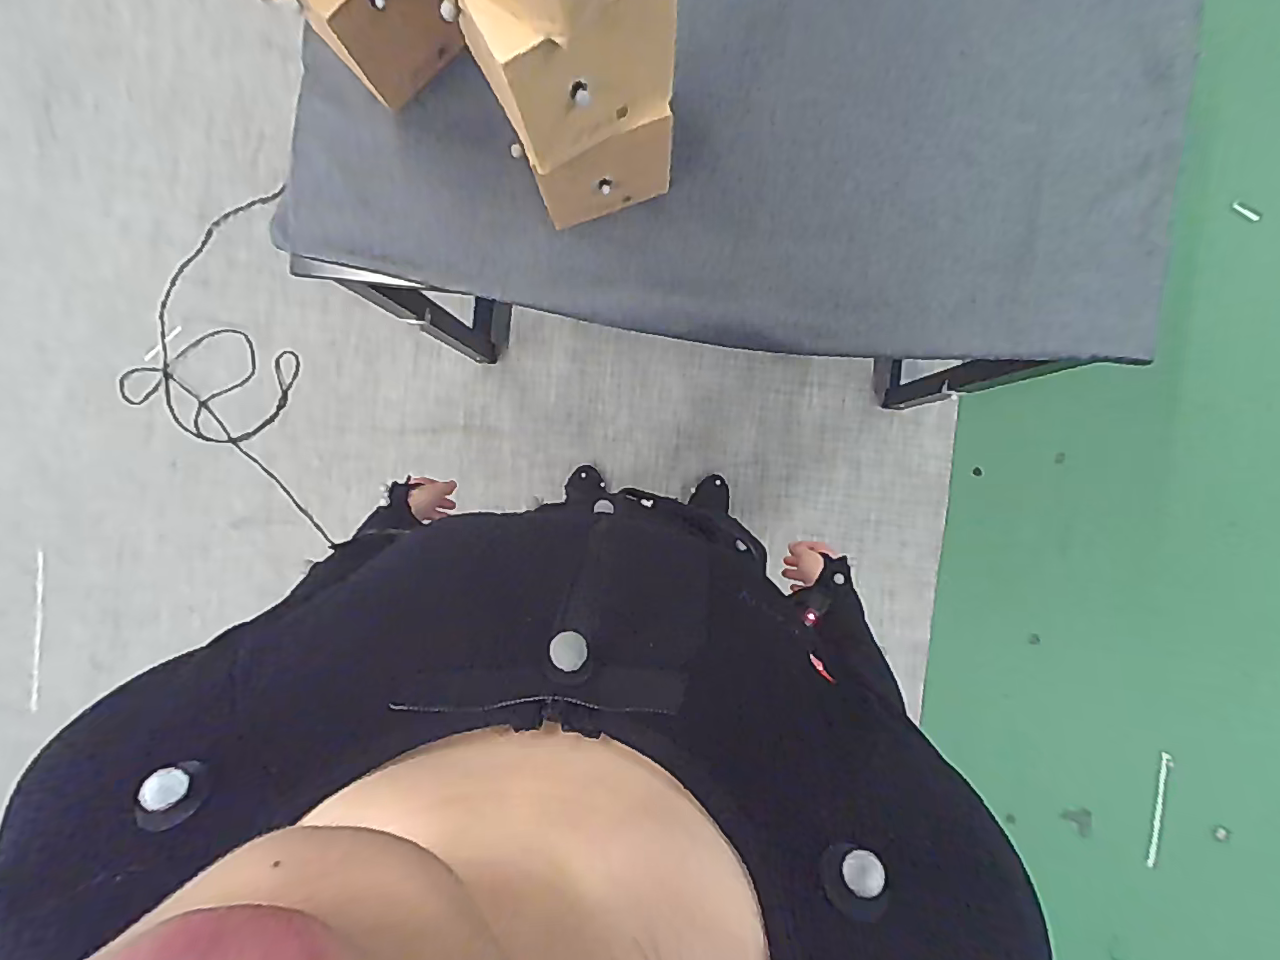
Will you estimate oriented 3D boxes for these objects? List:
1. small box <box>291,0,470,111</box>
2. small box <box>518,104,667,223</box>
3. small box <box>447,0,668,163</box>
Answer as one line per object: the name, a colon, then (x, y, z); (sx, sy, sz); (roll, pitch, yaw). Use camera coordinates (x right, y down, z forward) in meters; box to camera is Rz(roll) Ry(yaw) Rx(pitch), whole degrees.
small box: (-0.345, -0.624, 0.678); (0.168, 0.176, 0.179); (-43, 90, 2)
small box: (-0.068, -0.448, 0.672); (0.168, 0.176, 0.179); (-18, 90, 1)
small box: (-0.080, -0.440, 0.510); (0.168, 0.176, 0.179); (-29, 89, 2)
